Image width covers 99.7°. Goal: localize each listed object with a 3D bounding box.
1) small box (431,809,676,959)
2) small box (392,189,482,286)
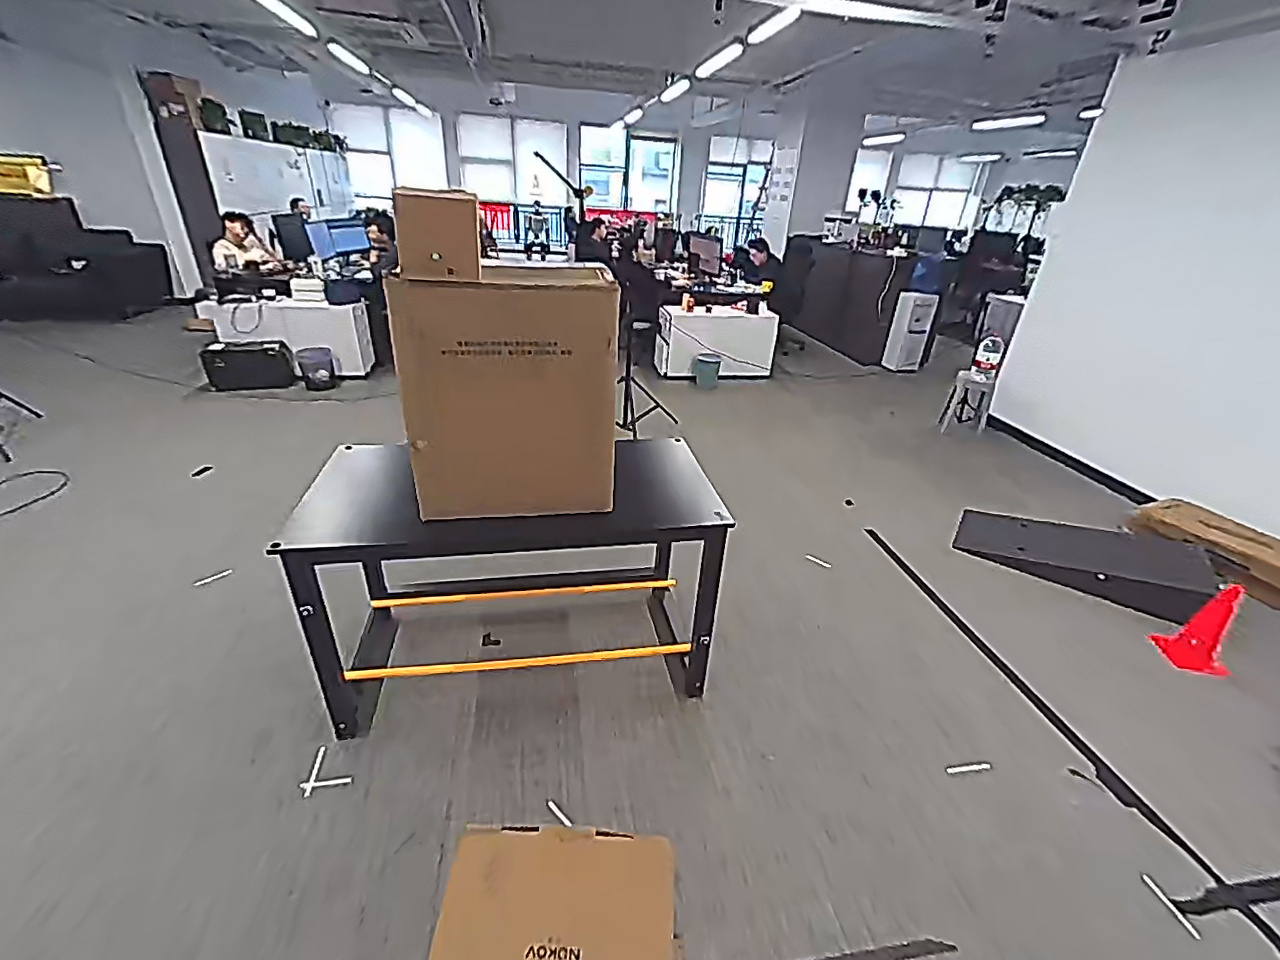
[{"bbox_3d":[-0.062,0.381,0.412,0.168,0.176,0.179,4,41,0],"label":"small box"},{"bbox_3d":[-0.443,-0.542,1.204,0.168,0.176,0.179,-3,32,-14],"label":"small box"}]
